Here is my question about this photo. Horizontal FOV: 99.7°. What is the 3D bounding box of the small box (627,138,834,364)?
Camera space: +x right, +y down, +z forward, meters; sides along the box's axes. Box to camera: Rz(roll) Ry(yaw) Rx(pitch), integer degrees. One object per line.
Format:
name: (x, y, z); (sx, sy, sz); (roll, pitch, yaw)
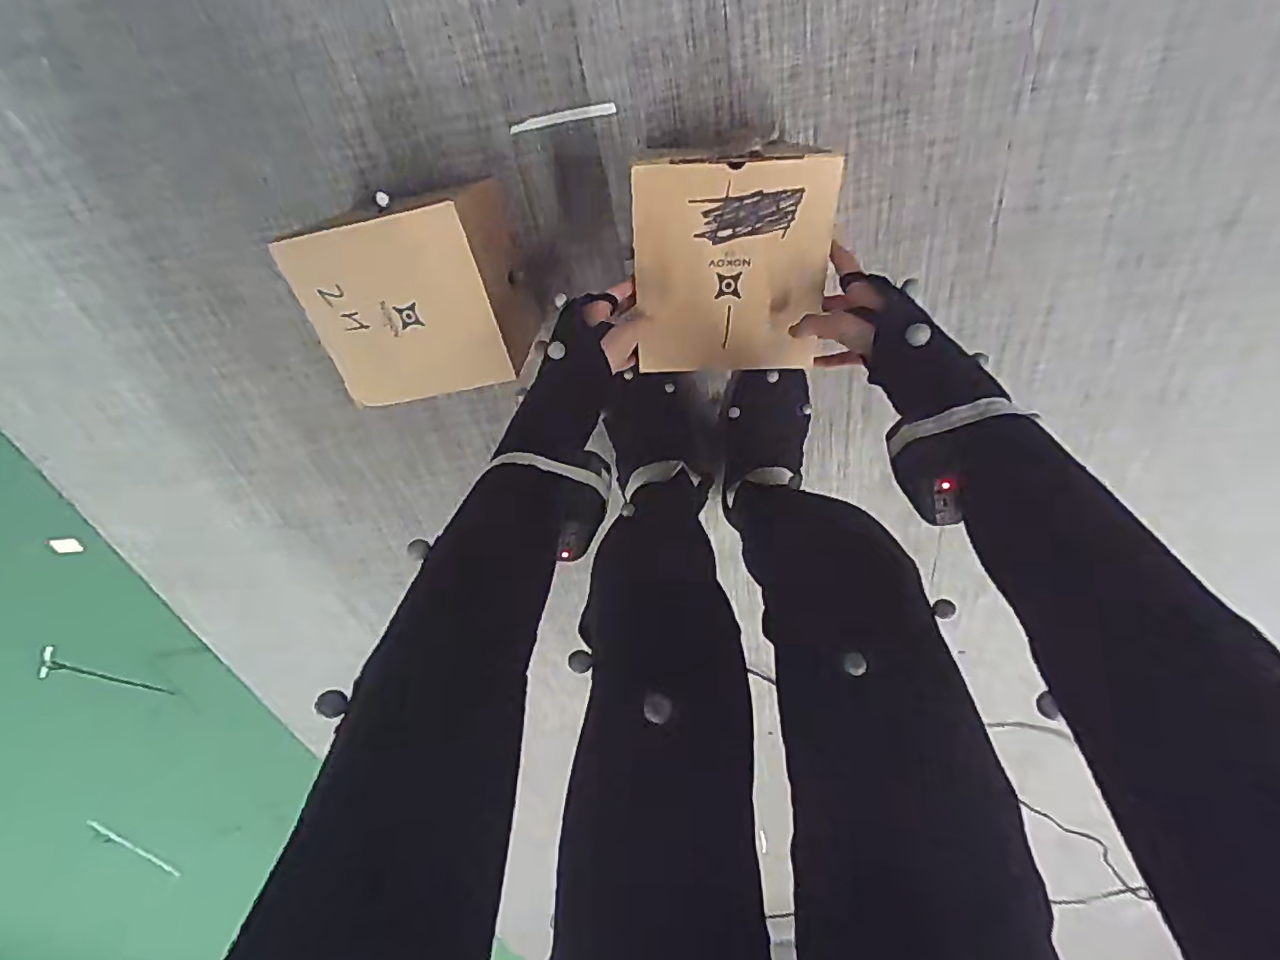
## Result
small box: (0.074, -0.229, 0.531); (0.168, 0.176, 0.179); (-1, 126, 3)

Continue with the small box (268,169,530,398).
small box: (-0.225, -0.210, 0.568); (0.179, 0.176, 0.168); (-10, 126, 7)
